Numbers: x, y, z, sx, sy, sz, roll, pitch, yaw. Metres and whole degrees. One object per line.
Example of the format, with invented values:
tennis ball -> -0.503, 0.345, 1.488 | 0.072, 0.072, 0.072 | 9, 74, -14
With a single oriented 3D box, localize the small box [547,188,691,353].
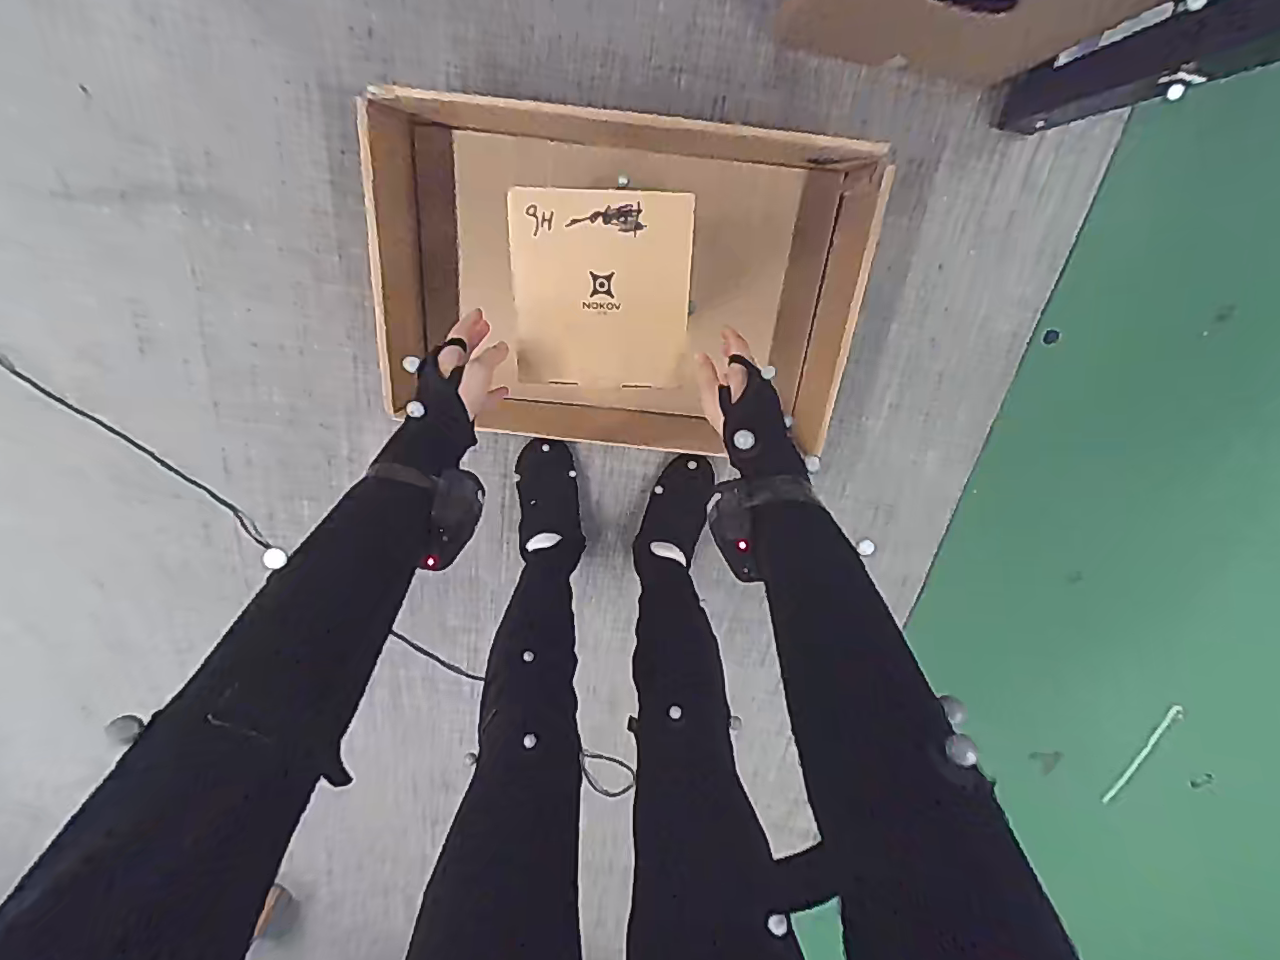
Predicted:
small box -> -0.029, -0.279, 0.725 | 0.168, 0.176, 0.179 | 5, 115, 0
